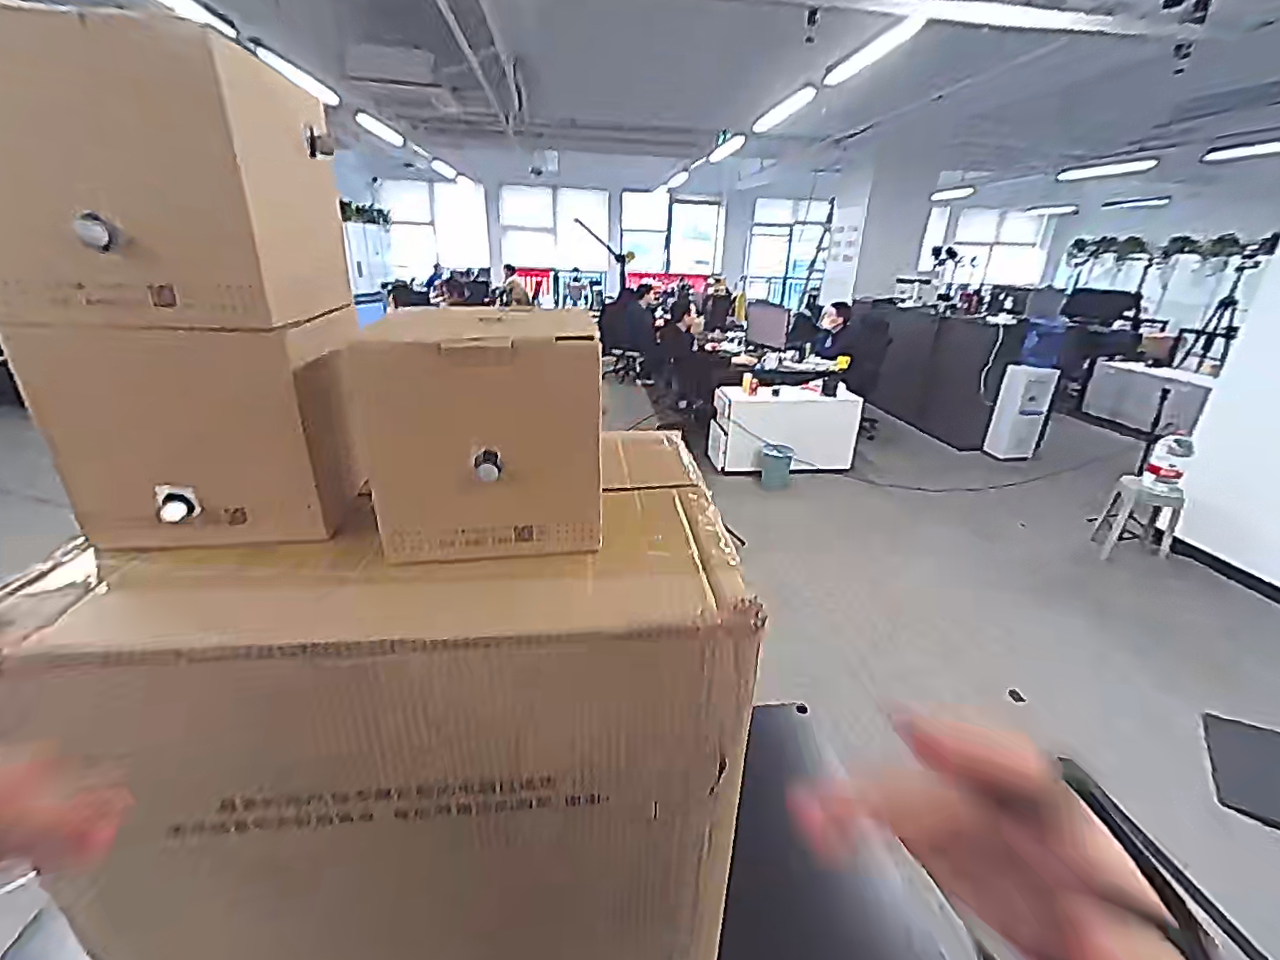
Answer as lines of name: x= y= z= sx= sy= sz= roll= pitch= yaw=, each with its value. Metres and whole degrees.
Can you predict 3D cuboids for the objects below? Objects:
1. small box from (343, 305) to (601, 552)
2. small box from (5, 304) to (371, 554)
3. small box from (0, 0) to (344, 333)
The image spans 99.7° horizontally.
small box: x=-0.121 y=-0.049 z=0.458 sx=0.168 sy=0.176 sz=0.179 roll=-2 pitch=25 yaw=-9
small box: x=-0.338 y=-0.055 z=0.458 sx=0.168 sy=0.176 sz=0.179 roll=-3 pitch=25 yaw=-12
small box: x=-0.334 y=-0.206 z=0.391 sx=0.168 sy=0.176 sz=0.179 roll=-2 pitch=24 yaw=-10
